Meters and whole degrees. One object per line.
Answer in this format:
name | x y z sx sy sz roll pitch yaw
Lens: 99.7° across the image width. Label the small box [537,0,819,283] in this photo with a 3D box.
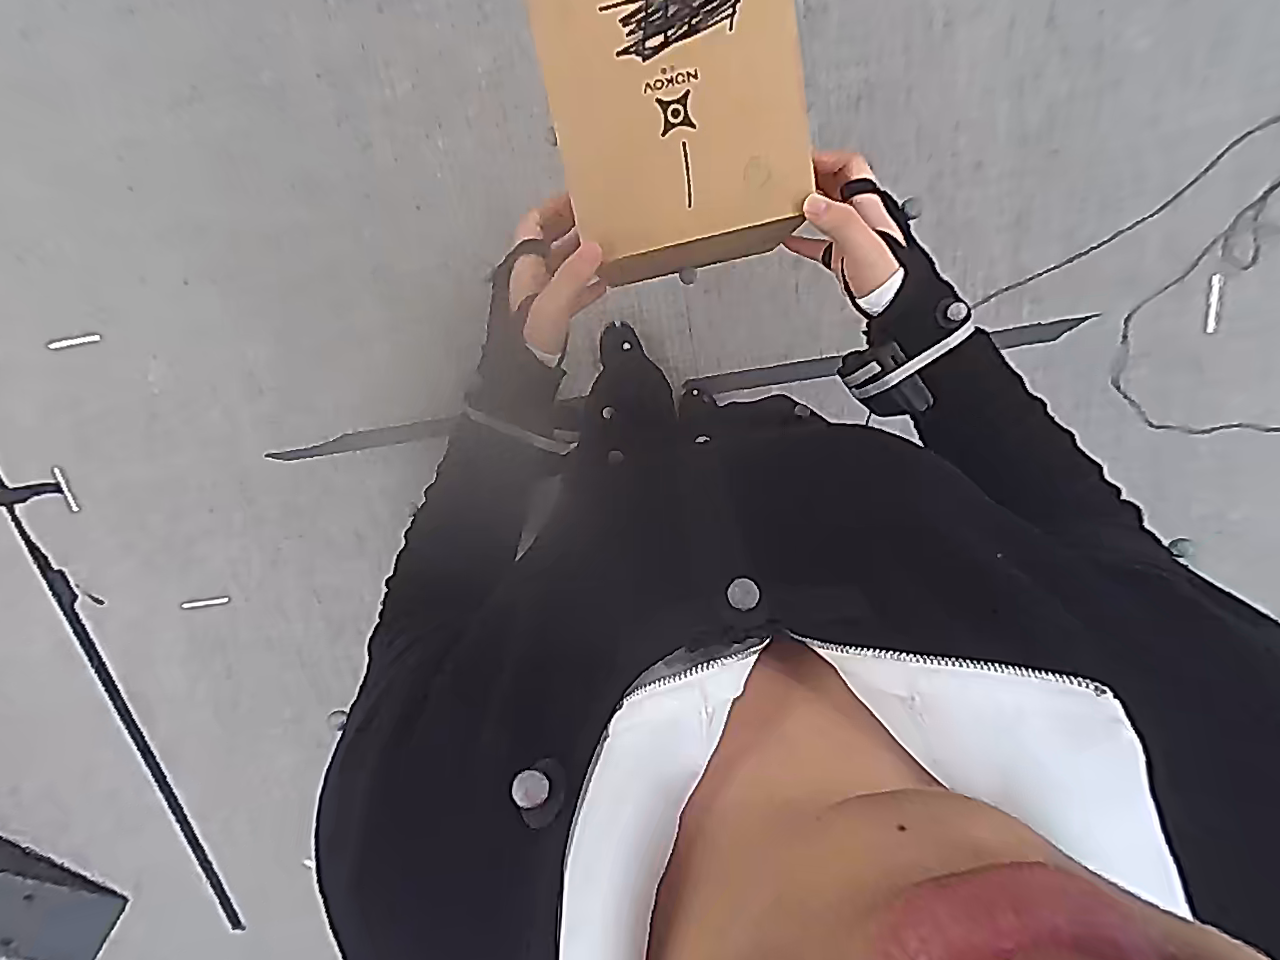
small box | 0.030 -0.271 0.434 0.168 0.176 0.179 -11 104 6
